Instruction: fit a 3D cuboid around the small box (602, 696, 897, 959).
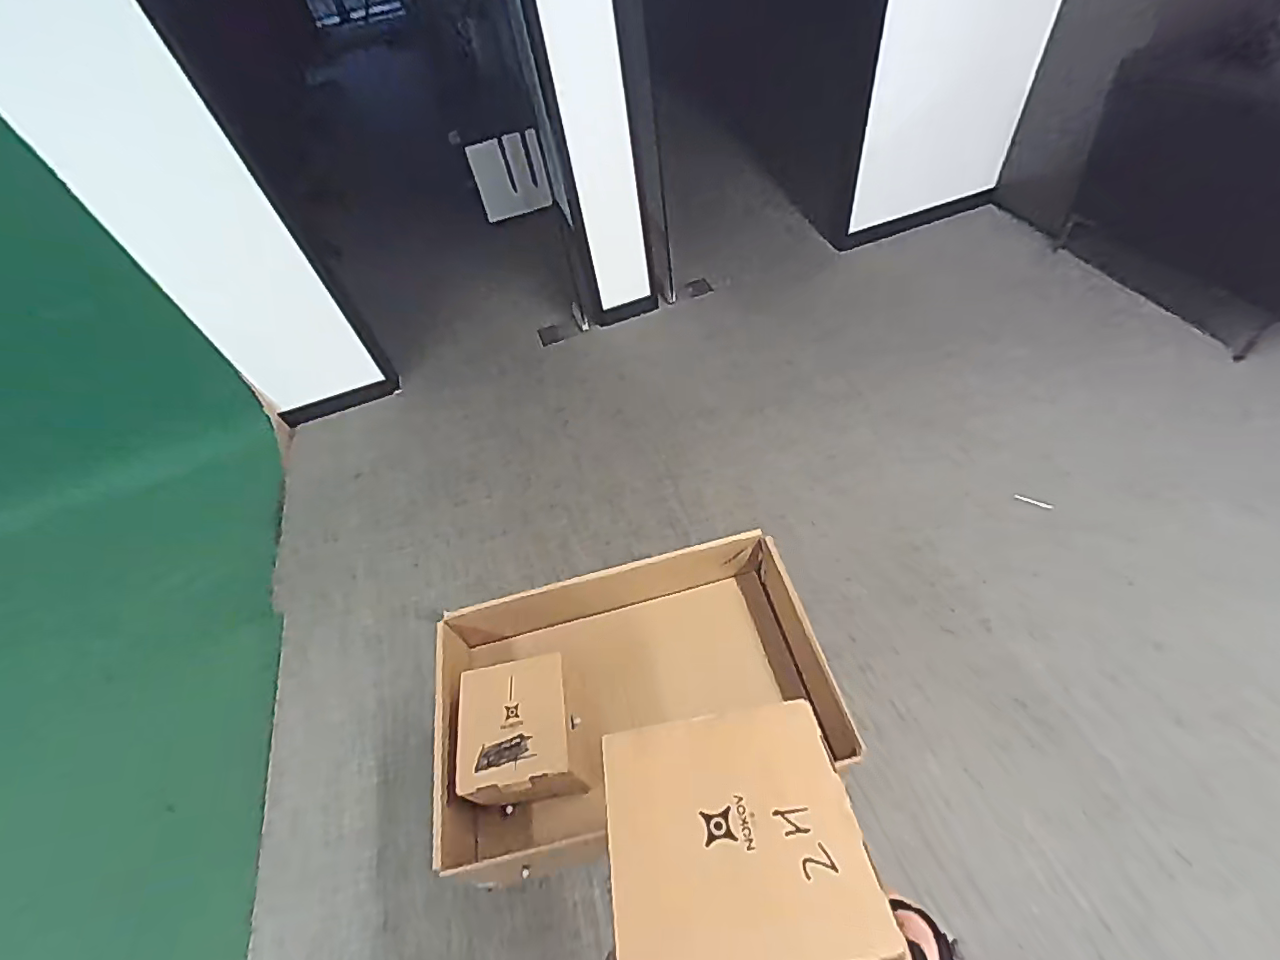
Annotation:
[{"bbox_3d":[0.072,0.305,0.433,0.179,0.176,0.168,-9,38,-2],"label":"small box"}]
